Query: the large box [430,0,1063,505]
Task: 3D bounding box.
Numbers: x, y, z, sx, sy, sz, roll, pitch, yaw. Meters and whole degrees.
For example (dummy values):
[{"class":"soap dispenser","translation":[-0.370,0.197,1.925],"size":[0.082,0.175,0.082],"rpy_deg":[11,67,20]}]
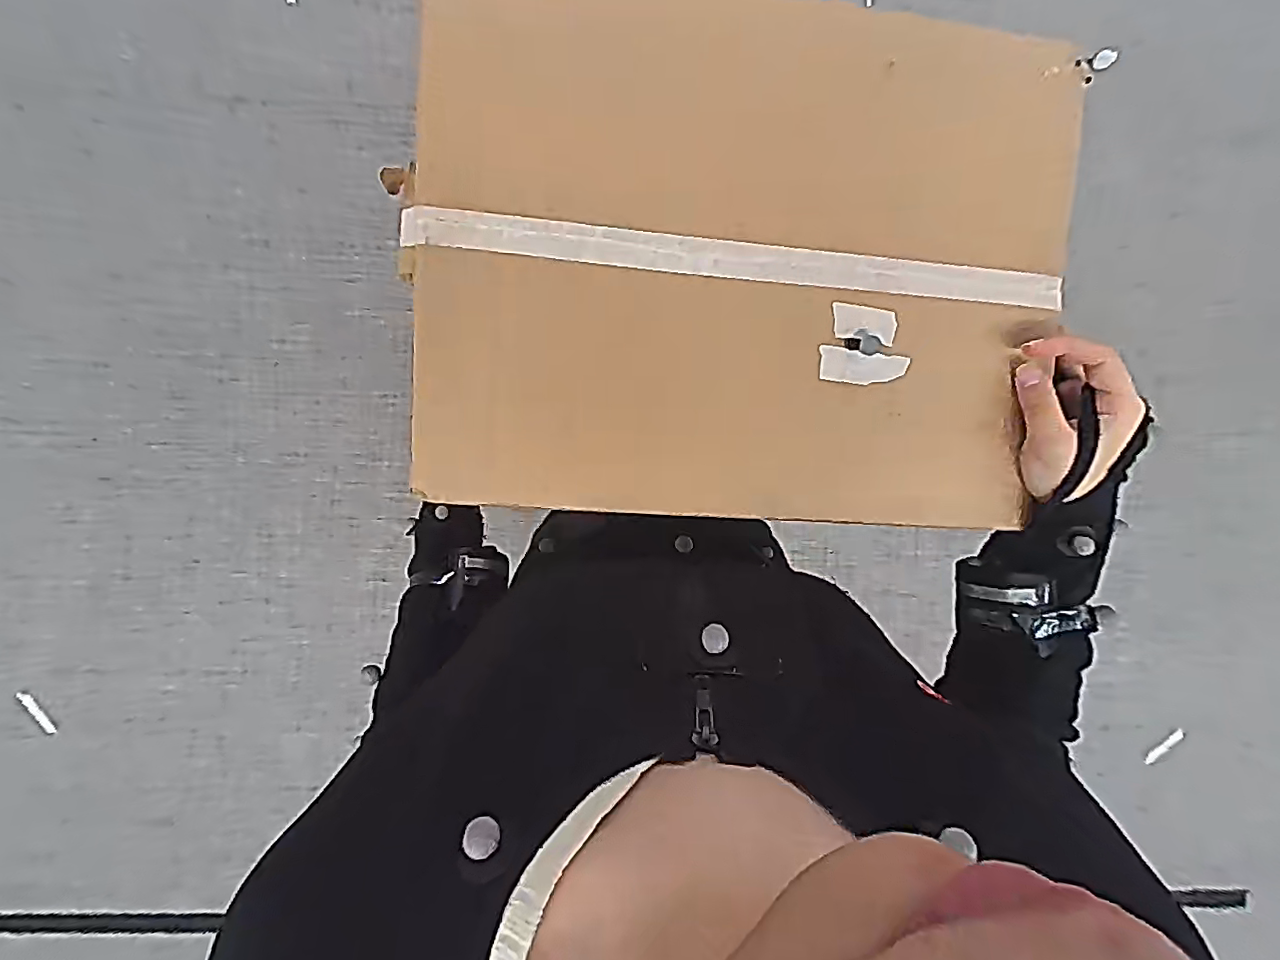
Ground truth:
[{"class":"large box","translation":[0.054,-0.154,0.484],"size":[0.408,0.320,0.320],"rpy_deg":[3,95,-9]}]
